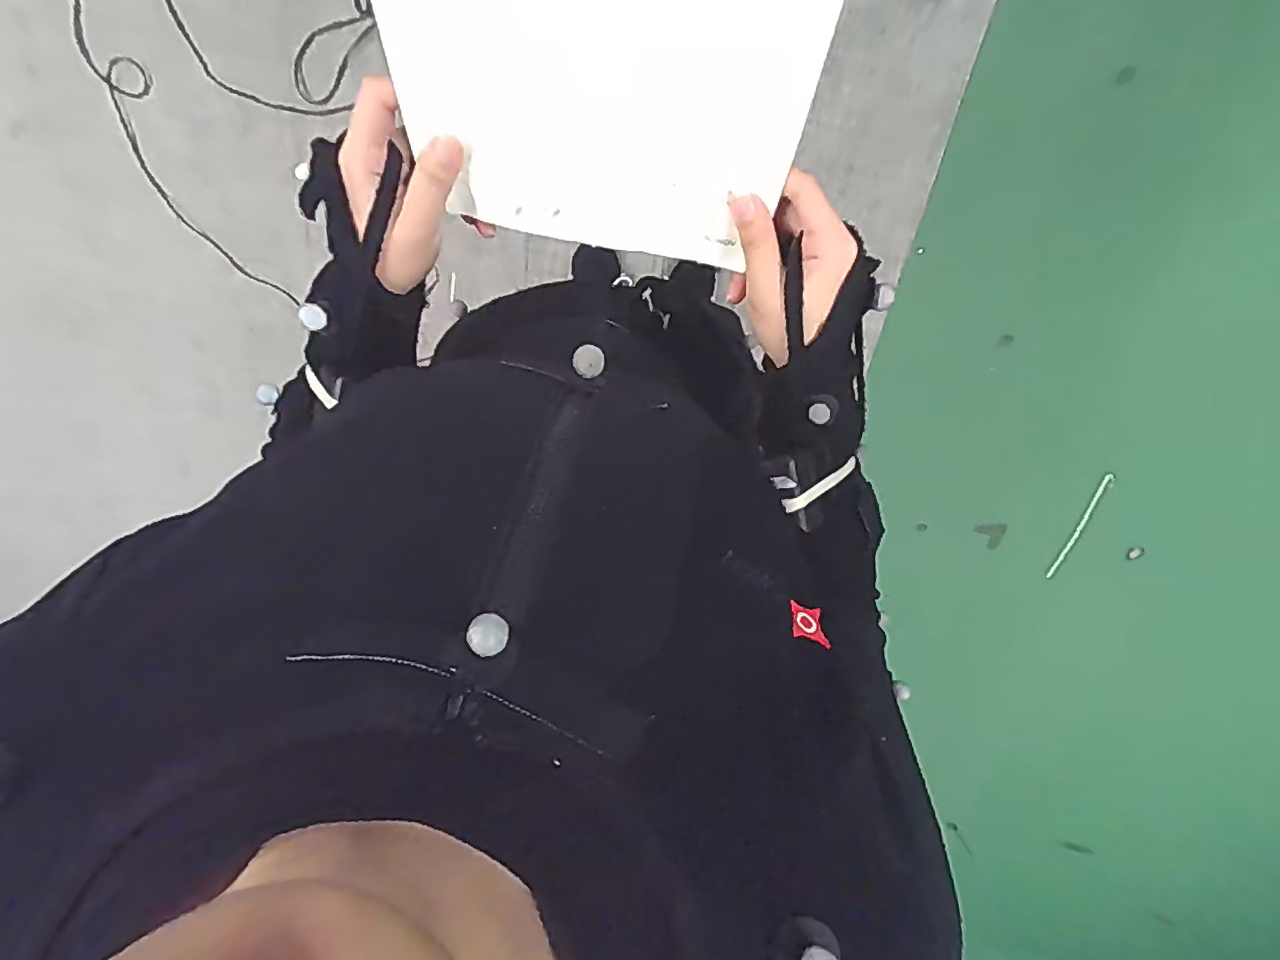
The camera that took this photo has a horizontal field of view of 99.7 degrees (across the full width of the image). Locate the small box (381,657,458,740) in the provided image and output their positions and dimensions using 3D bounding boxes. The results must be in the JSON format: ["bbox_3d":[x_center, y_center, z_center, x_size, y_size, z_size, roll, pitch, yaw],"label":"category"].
[{"bbox_3d":[-0.685,0.683,1.703,0.179,0.176,0.168,7,115,2],"label":"small box"}]
